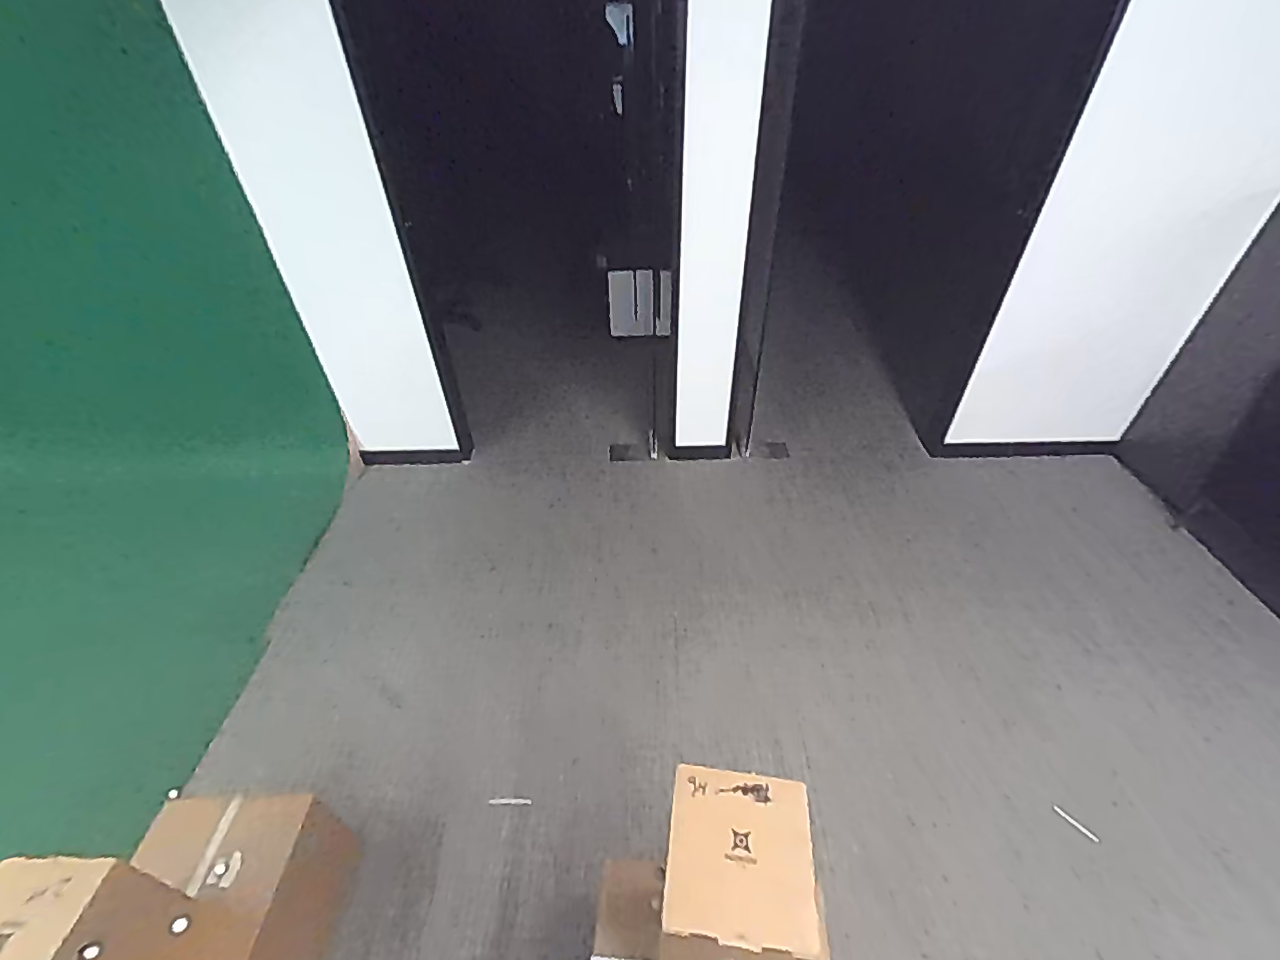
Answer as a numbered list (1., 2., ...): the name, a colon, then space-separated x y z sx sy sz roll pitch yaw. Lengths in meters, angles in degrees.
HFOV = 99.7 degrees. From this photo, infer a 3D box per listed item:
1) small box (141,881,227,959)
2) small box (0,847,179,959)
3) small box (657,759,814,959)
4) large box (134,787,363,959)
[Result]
1. small box: -0.822 0.771 0.868 0.168 0.176 0.179 0 39 1
2. small box: -0.816 0.645 0.760 0.168 0.176 0.179 0 39 1
3. small box: 0.114 0.486 0.676 0.168 0.176 0.179 6 39 7
4. large box: -0.830 0.901 1.091 0.320 0.320 0.408 -1 39 0
